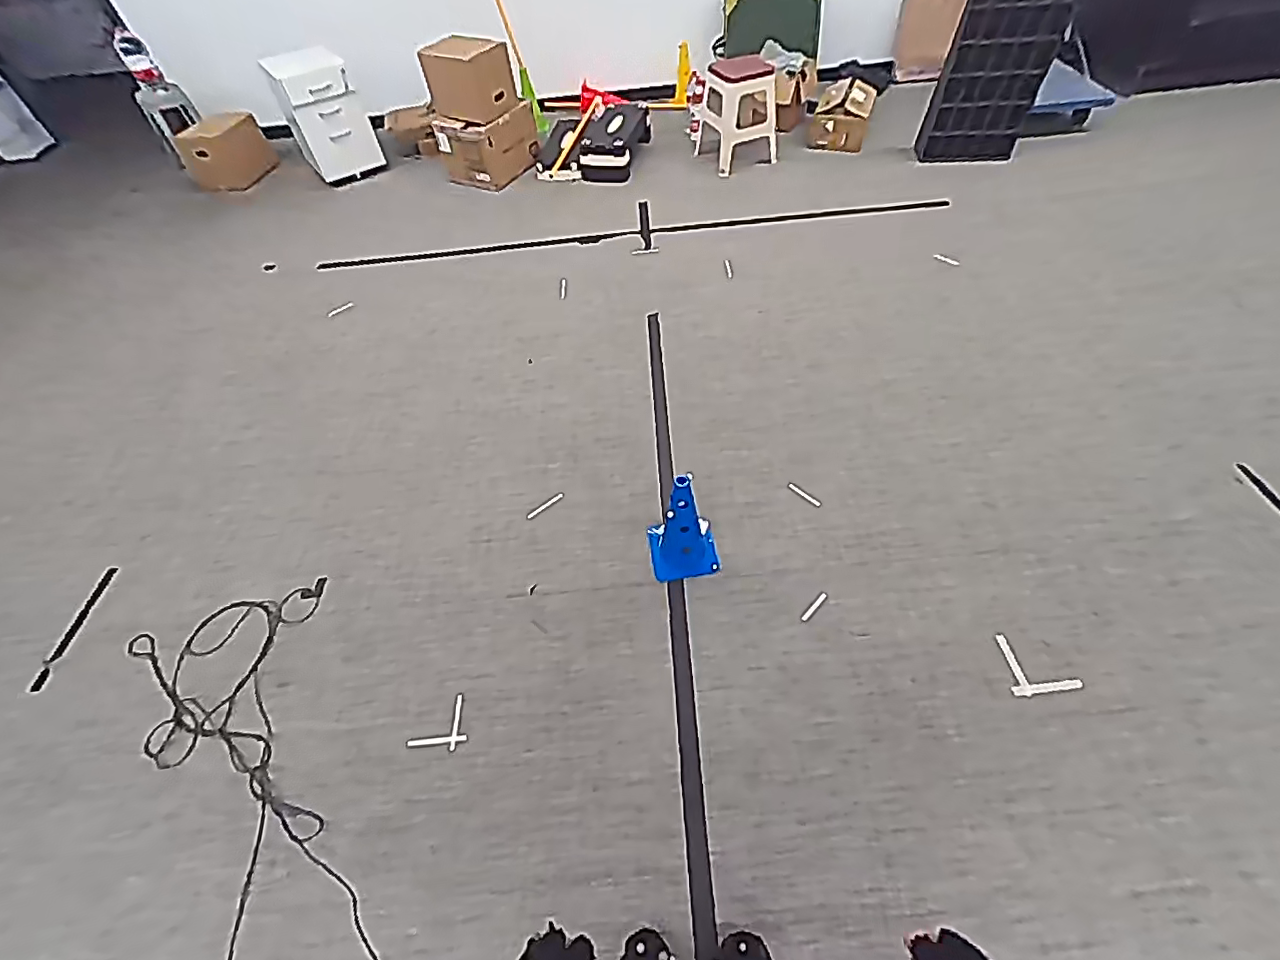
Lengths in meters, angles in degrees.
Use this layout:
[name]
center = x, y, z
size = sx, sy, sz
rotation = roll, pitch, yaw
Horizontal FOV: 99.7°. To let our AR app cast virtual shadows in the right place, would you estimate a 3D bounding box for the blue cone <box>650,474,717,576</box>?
[blue cone]
center = 0.123, 0.112, 1.553
size = 0.192, 0.380, 0.193
rotation = -7, 52, -1
